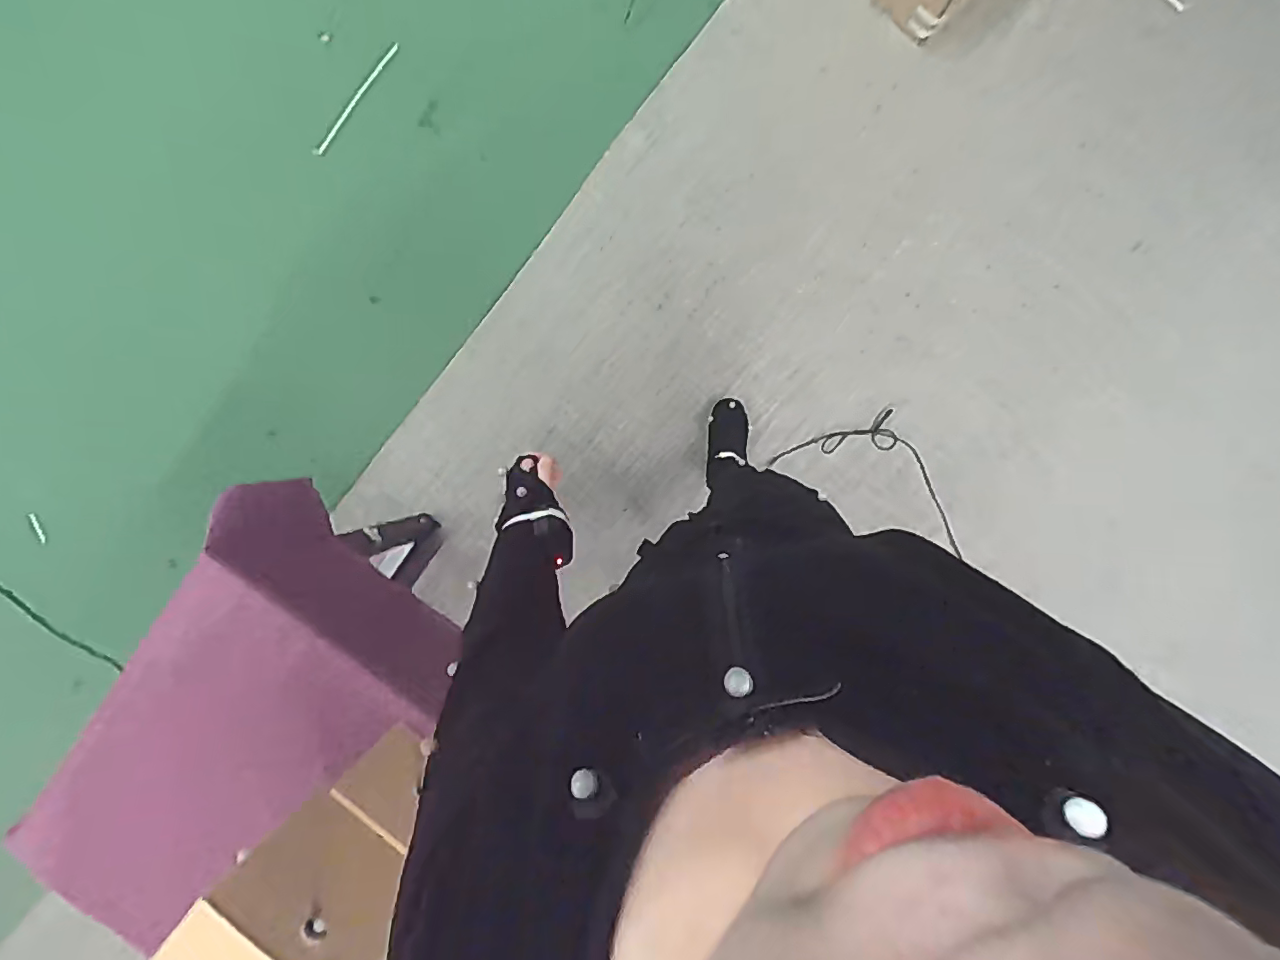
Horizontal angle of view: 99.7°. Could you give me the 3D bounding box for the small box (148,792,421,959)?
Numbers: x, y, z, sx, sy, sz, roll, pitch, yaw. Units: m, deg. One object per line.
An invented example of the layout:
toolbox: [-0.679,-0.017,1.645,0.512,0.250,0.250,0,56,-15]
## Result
small box: [-0.372,0.482,0.571,0.179,0.176,0.168,40,94,1]

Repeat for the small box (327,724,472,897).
small box: [-0.354,0.476,0.735,0.168,0.176,0.179,39,95,1]
